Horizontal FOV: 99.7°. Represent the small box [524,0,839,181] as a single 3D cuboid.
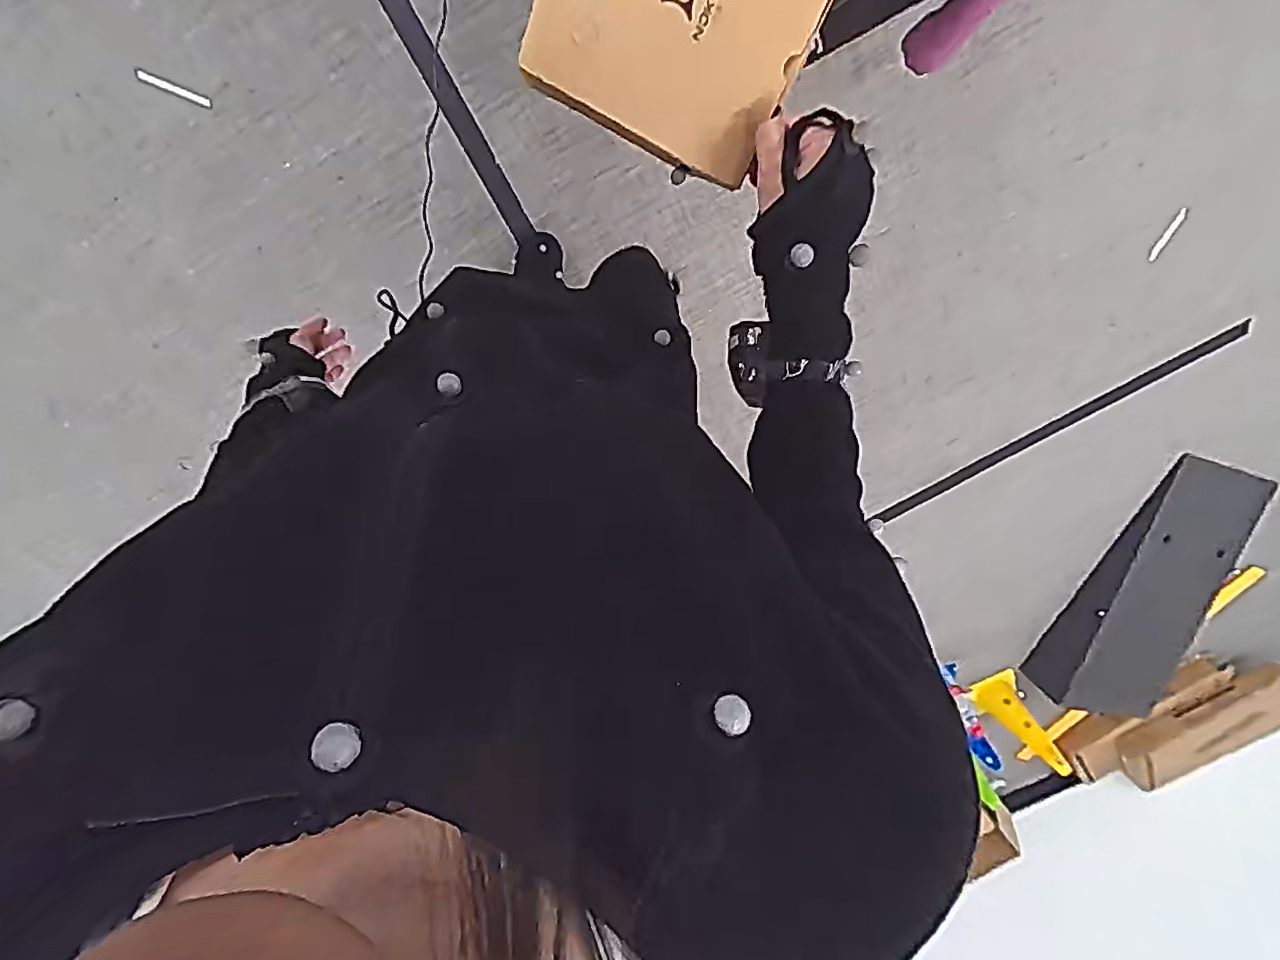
[{"bbox_3d":[0.023,-0.350,0.401,0.179,0.176,0.168,17,119,-22],"label":"small box"}]
